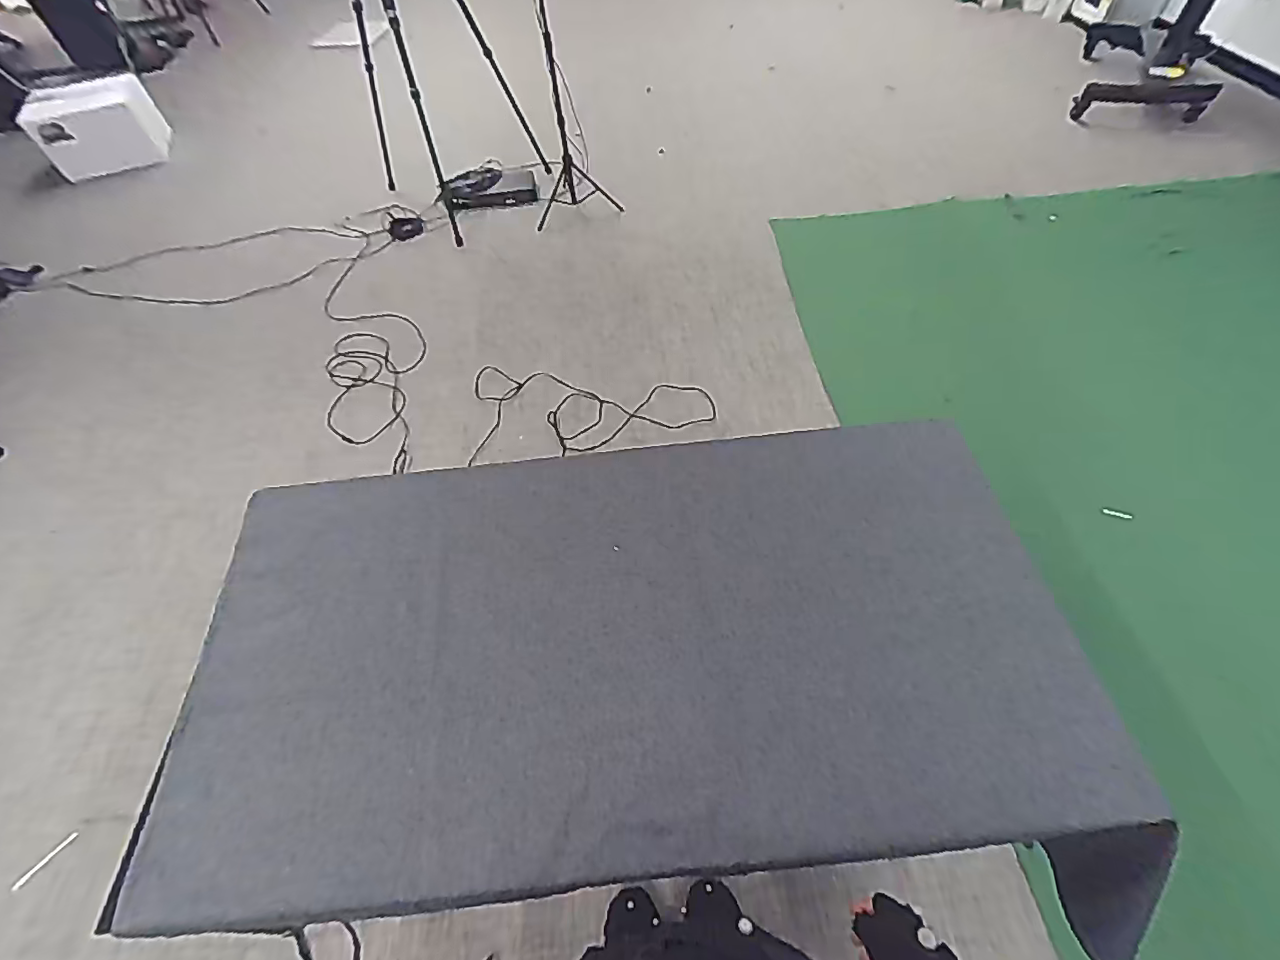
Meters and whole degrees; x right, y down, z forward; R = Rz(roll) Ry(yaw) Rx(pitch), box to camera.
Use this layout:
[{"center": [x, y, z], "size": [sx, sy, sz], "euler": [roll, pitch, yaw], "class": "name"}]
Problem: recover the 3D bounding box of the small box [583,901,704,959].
[{"center": [-0.007, 0.956, 1.042], "size": [0.179, 0.176, 0.168], "euler": [16, 67, 36], "class": "small box"}]
